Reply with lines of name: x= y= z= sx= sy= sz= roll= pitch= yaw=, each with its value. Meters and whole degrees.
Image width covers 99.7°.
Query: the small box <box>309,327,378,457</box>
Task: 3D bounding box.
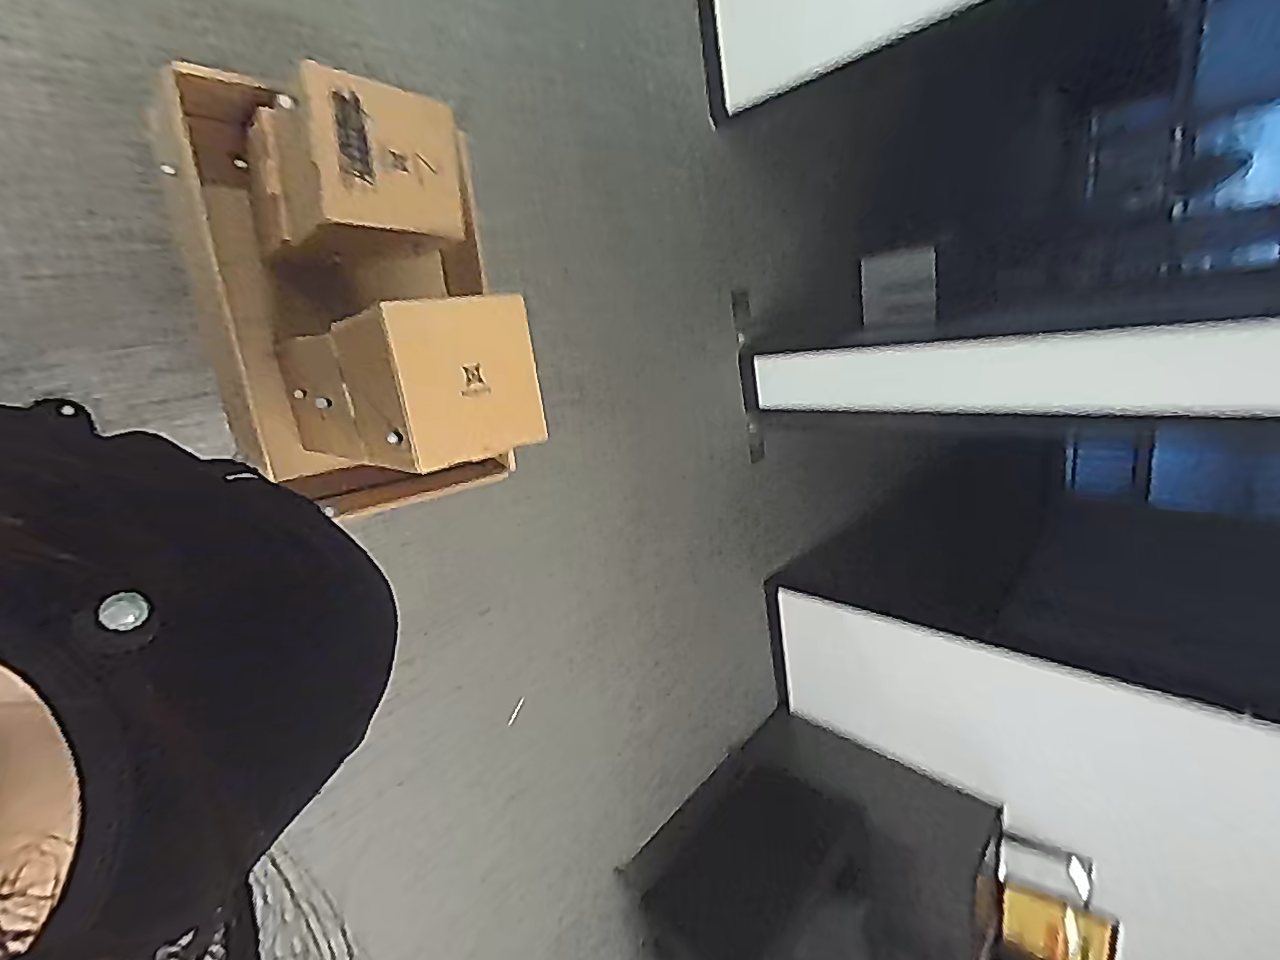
small box: x=-0.354 y=-0.135 z=0.780 sx=0.179 sy=0.176 sz=0.168 roll=-21 pitch=110 yaw=-40

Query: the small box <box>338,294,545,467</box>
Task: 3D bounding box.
small box: x=-0.243 y=-0.123 z=0.661 sx=0.168 sy=0.176 sz=0.179 roll=-21 pitch=111 yaw=-41
